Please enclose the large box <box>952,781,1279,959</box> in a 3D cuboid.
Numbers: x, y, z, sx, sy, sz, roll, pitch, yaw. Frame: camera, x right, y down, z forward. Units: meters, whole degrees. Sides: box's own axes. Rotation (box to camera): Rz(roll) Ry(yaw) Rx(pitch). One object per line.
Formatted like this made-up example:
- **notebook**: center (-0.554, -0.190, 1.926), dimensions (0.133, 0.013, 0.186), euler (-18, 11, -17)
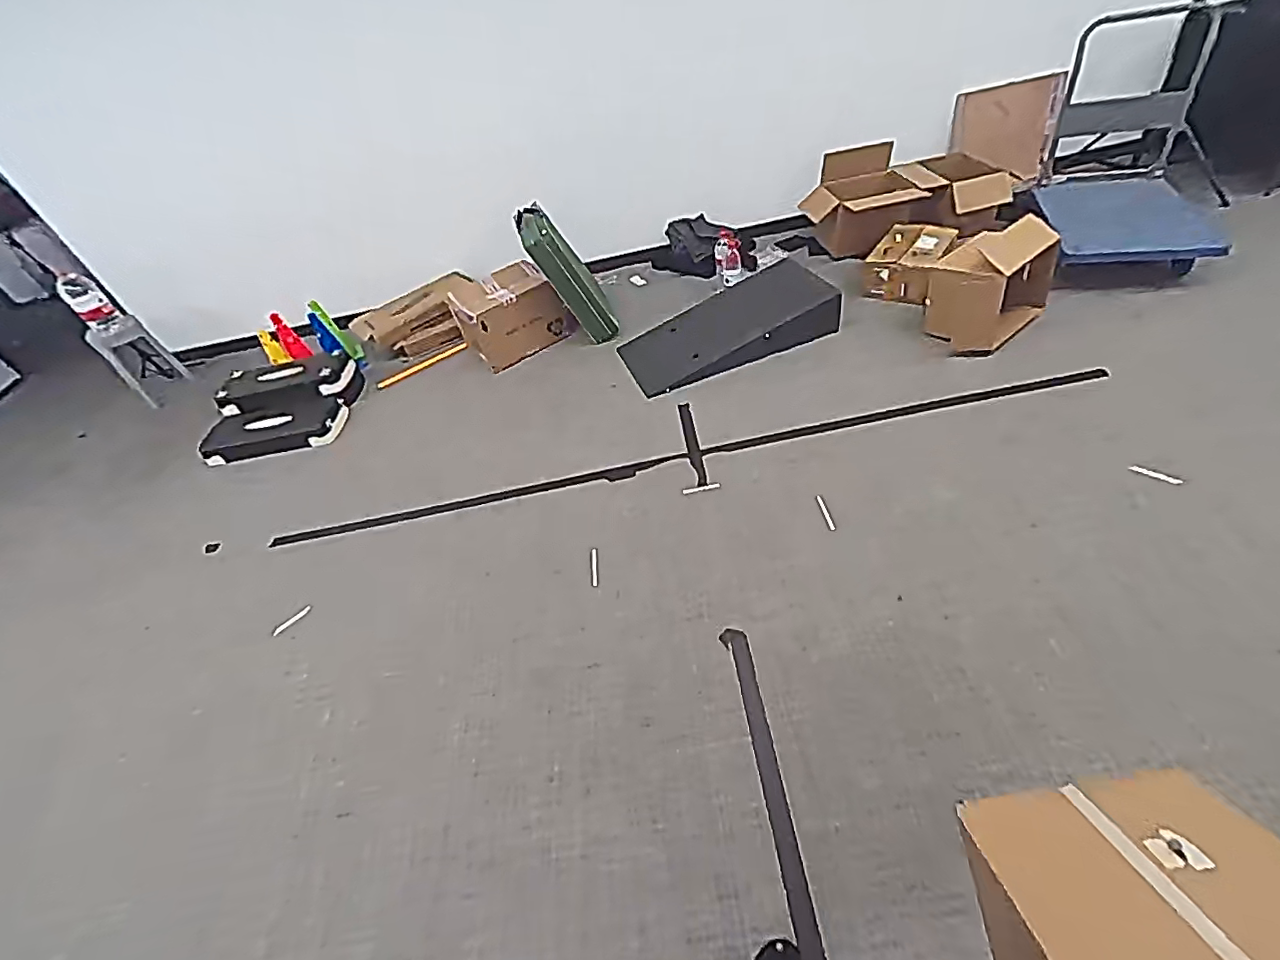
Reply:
- **large box**: center (0.629, 0.623, 0.601), dimensions (0.320, 0.320, 0.408), euler (-13, 2, 8)
